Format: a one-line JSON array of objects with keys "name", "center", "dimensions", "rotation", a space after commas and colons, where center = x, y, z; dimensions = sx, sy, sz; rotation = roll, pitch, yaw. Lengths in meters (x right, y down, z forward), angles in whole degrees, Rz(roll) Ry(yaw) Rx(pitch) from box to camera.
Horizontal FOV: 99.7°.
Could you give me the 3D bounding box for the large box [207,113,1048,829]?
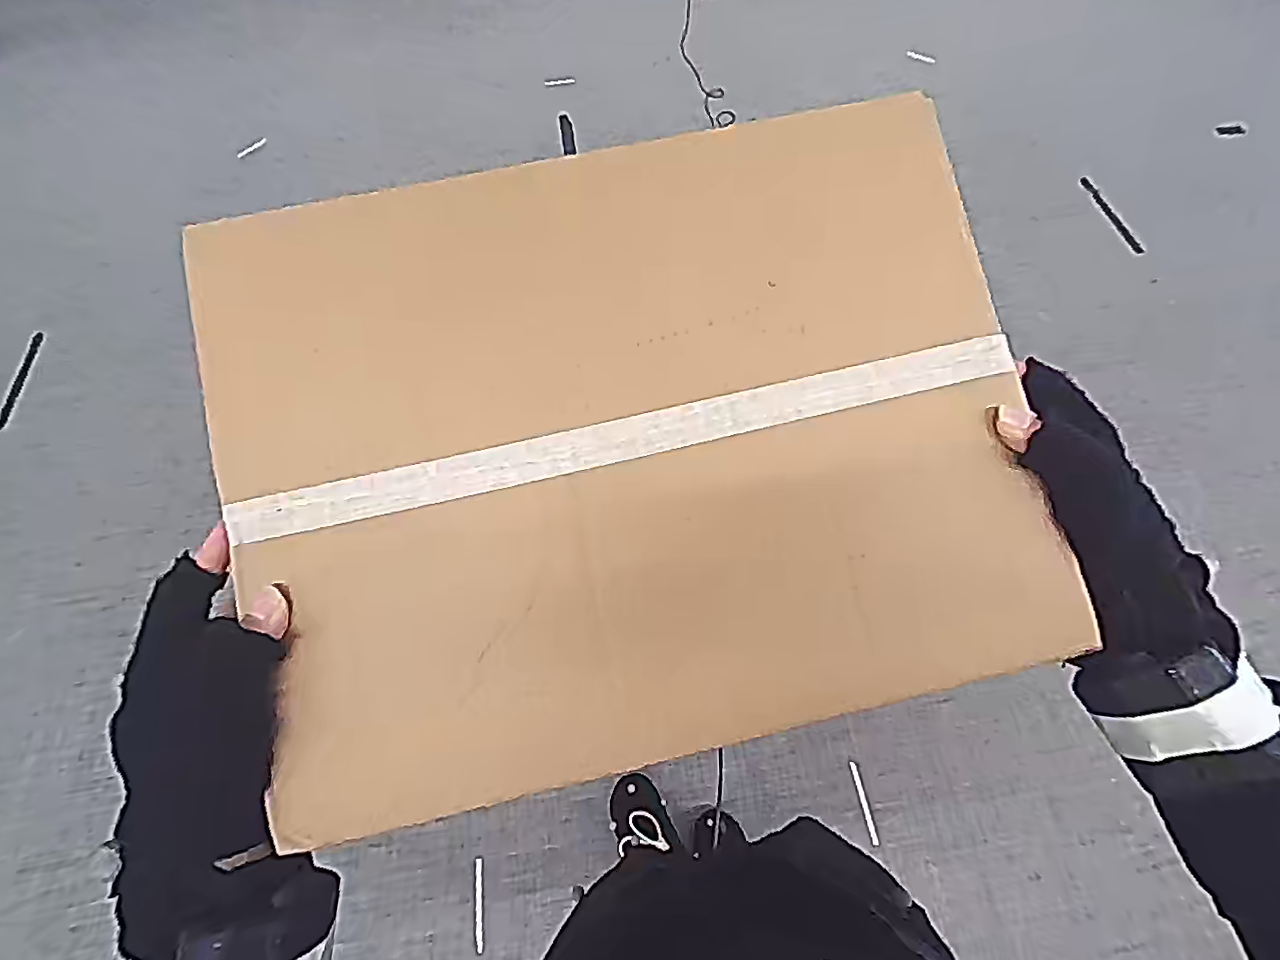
[{"name": "large box", "center": [-0.012, -0.007, 0.436], "dimensions": [0.408, 0.320, 0.320], "rotation": [-13, 83, -3]}]
